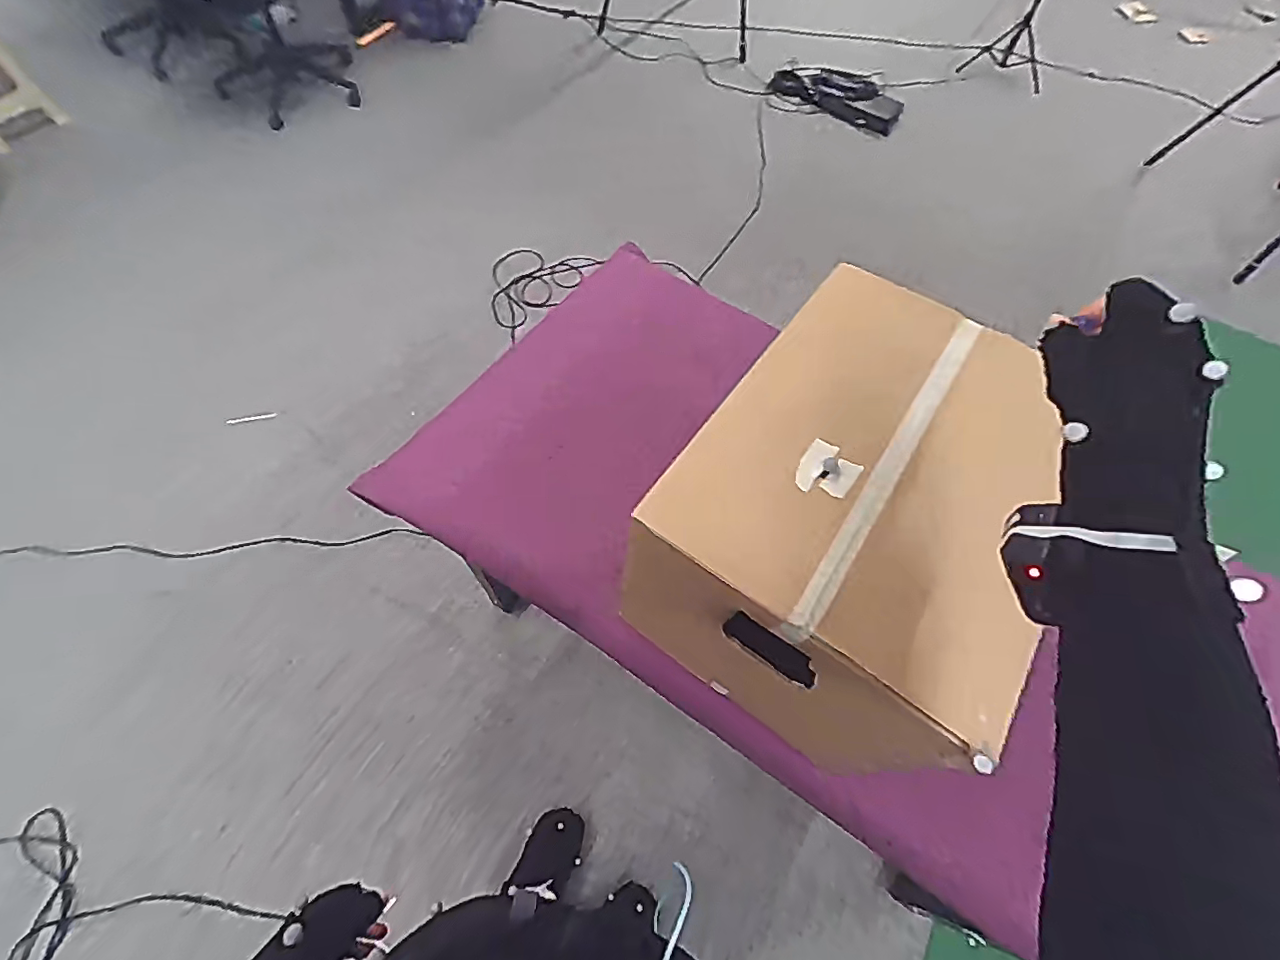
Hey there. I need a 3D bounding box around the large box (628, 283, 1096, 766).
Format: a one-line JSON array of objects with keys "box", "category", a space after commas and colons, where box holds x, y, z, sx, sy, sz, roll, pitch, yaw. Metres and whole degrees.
[{"box": [0.227, 0.058, 0.640, 0.320, 0.320, 0.408, 34, 65, 15], "category": "large box"}]
